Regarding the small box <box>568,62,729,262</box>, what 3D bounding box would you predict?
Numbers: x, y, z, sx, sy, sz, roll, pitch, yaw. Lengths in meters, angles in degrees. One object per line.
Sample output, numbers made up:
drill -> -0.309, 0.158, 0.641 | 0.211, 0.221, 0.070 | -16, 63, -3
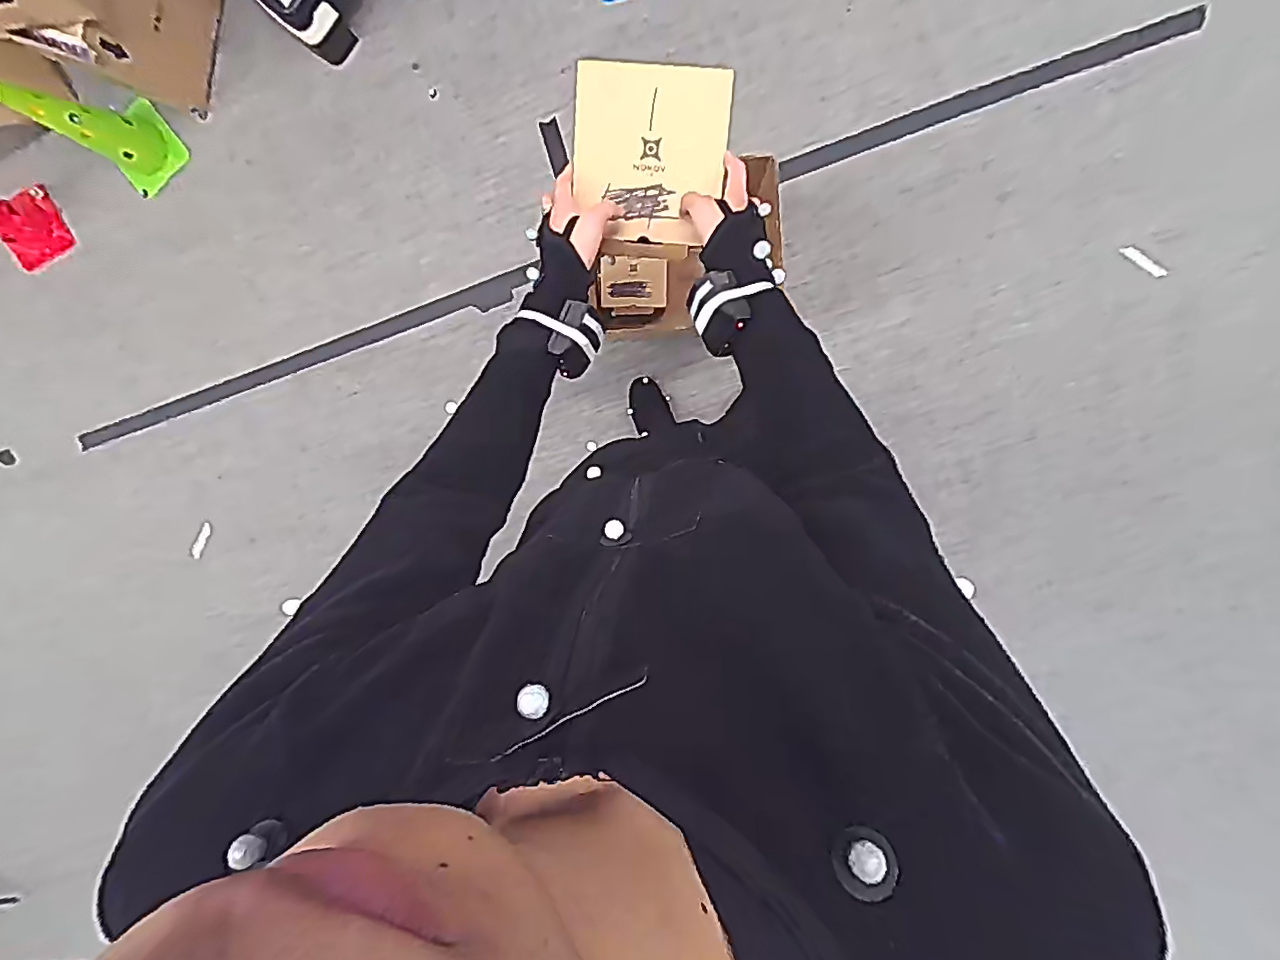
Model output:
small box -> 0.010, -0.369, 0.661 | 0.168, 0.176, 0.179 | 5, 107, 1
